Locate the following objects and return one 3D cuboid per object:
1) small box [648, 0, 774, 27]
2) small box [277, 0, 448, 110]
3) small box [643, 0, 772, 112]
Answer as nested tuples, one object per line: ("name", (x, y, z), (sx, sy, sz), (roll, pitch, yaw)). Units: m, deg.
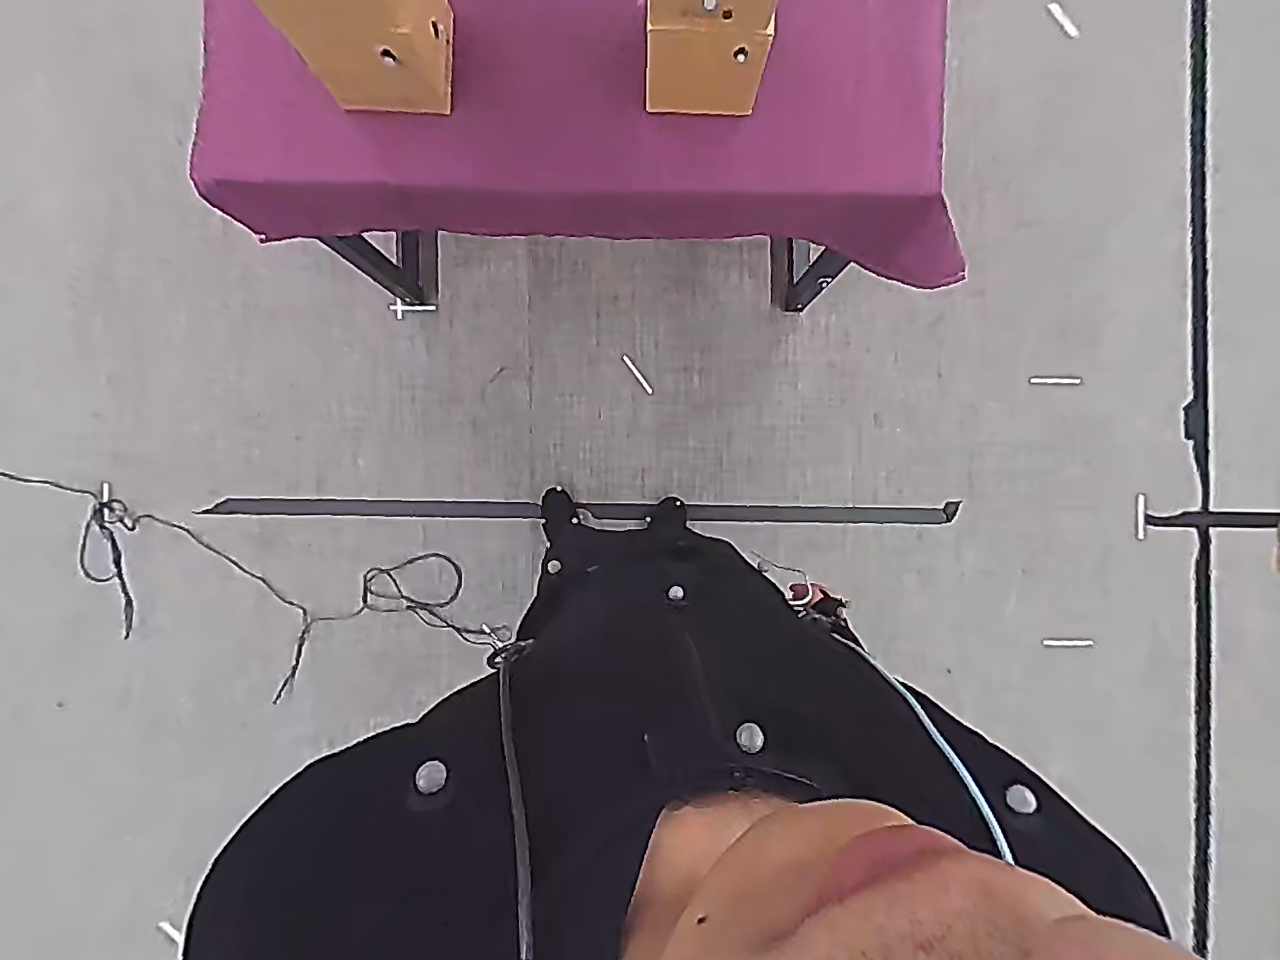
("small box", (0.095, -0.698, 0.645), (0.168, 0.176, 0.179), (2, 91, -1))
("small box", (-0.395, -0.684, 0.799), (0.179, 0.176, 0.168), (2, 90, -1))
("small box", (0.093, -0.687, 0.809), (0.179, 0.176, 0.168), (1, 90, -1))
